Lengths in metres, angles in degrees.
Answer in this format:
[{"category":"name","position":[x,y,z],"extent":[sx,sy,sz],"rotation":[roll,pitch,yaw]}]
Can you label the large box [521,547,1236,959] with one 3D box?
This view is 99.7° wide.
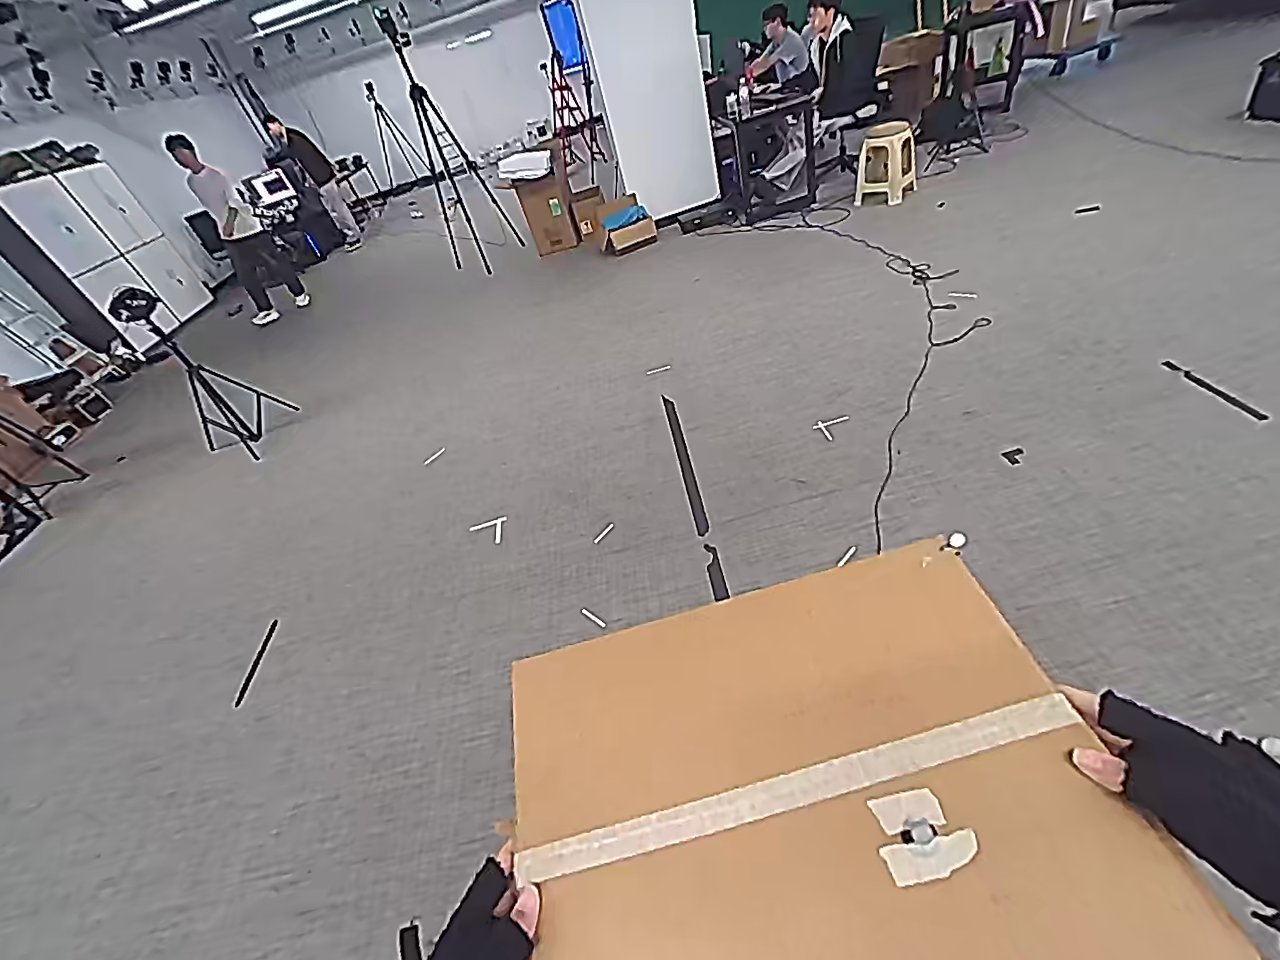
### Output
[{"category":"large box","position":[0.139,0.323,0.504],"extent":[0.408,0.320,0.320],"rotation":[-17,48,0]}]
